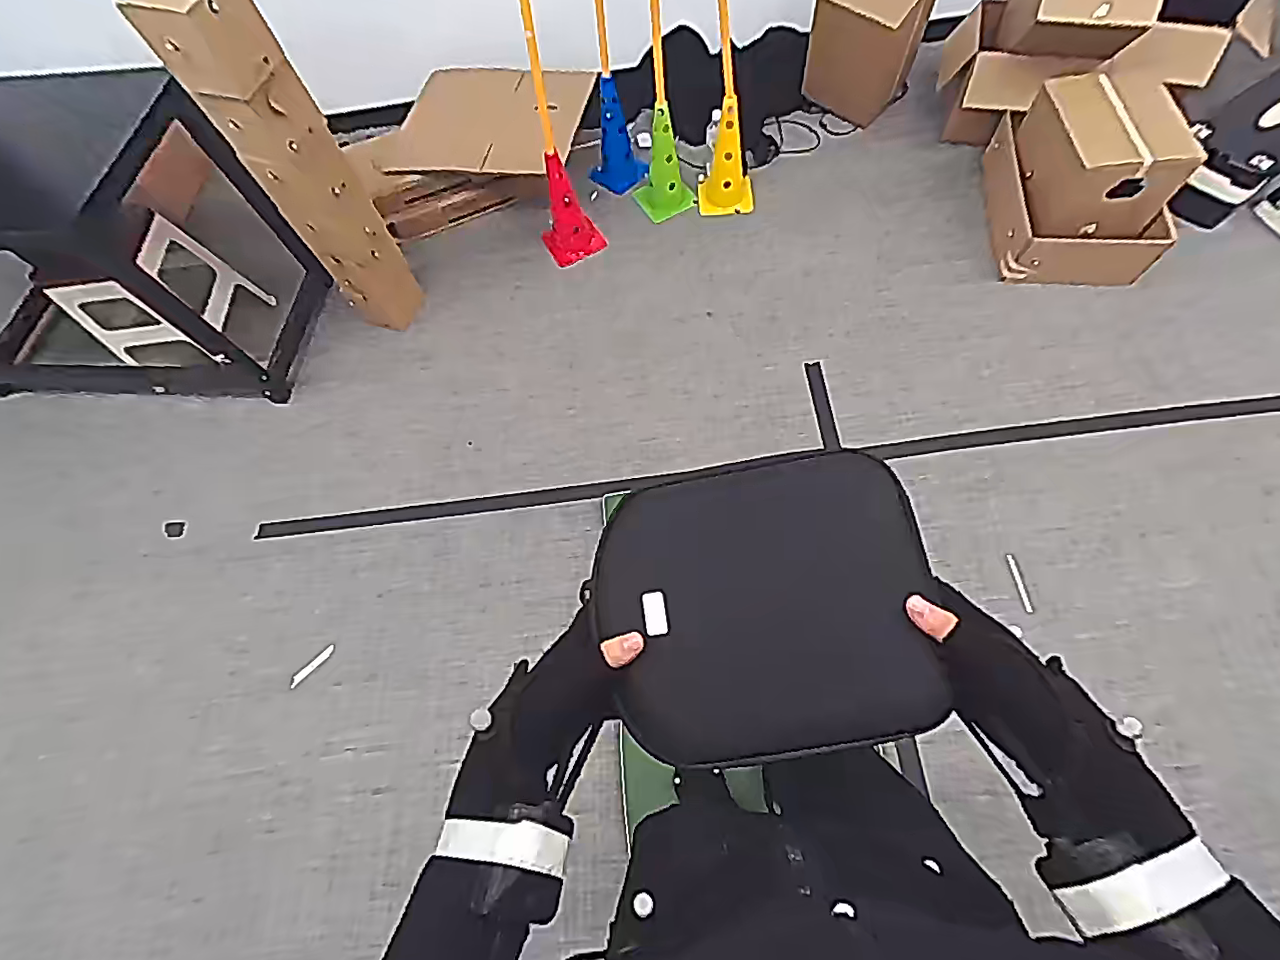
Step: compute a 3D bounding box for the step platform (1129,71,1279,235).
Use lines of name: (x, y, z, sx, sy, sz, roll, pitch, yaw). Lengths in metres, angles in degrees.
step platform: (2.046, -1.118, 1.822, 0.684, 0.204, 0.286, -34, 67, -9)
